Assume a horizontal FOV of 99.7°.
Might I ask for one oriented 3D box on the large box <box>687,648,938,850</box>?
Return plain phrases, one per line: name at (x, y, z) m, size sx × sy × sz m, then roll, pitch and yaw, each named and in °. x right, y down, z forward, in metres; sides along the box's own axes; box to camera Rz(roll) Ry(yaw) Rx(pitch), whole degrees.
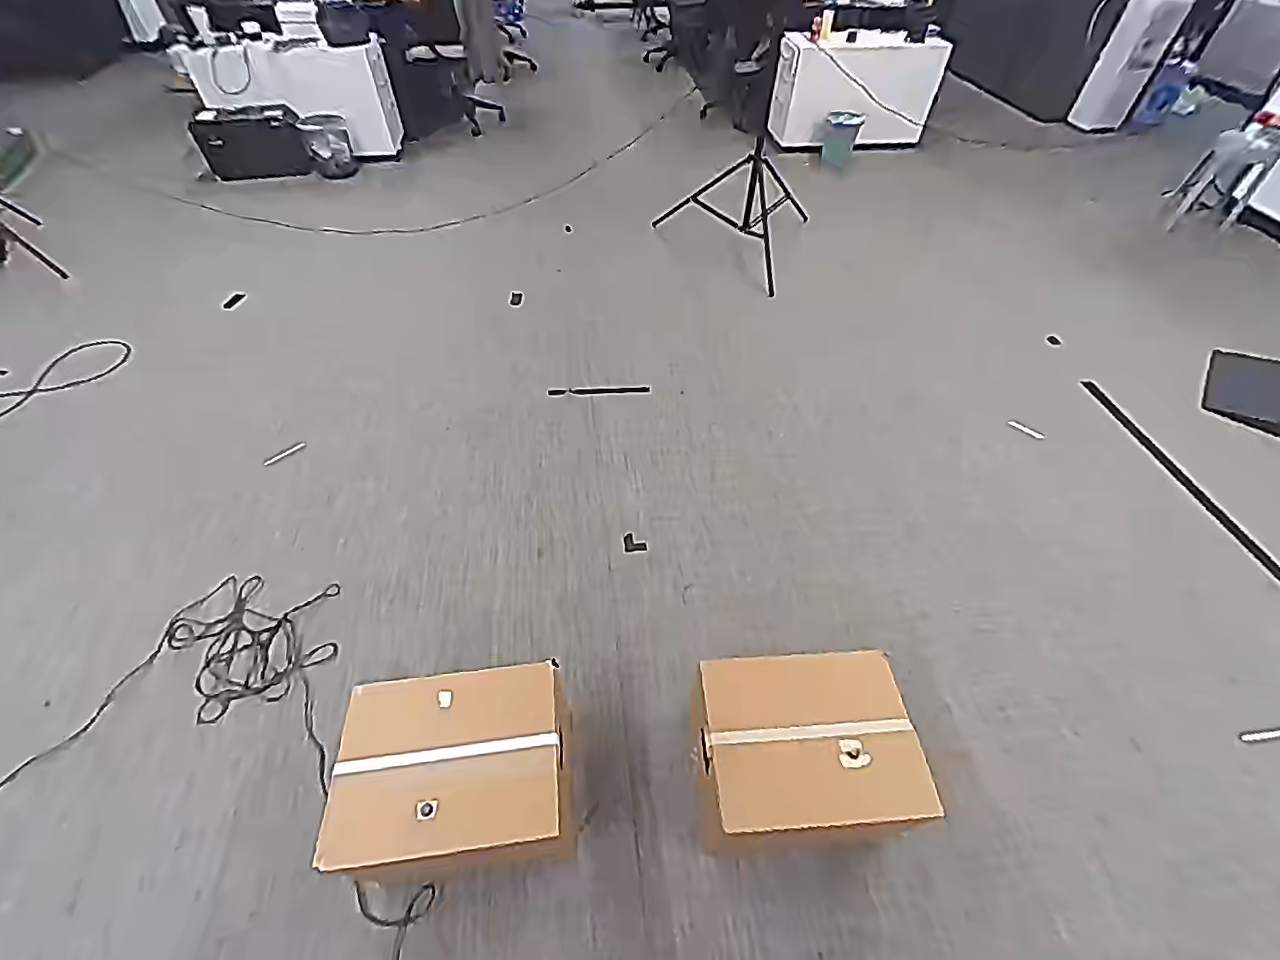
large box at (0.332, 0.587, 1.178) m, size 0.408 × 0.320 × 0.320 m, roll -2°, pitch 50°, yaw -4°
